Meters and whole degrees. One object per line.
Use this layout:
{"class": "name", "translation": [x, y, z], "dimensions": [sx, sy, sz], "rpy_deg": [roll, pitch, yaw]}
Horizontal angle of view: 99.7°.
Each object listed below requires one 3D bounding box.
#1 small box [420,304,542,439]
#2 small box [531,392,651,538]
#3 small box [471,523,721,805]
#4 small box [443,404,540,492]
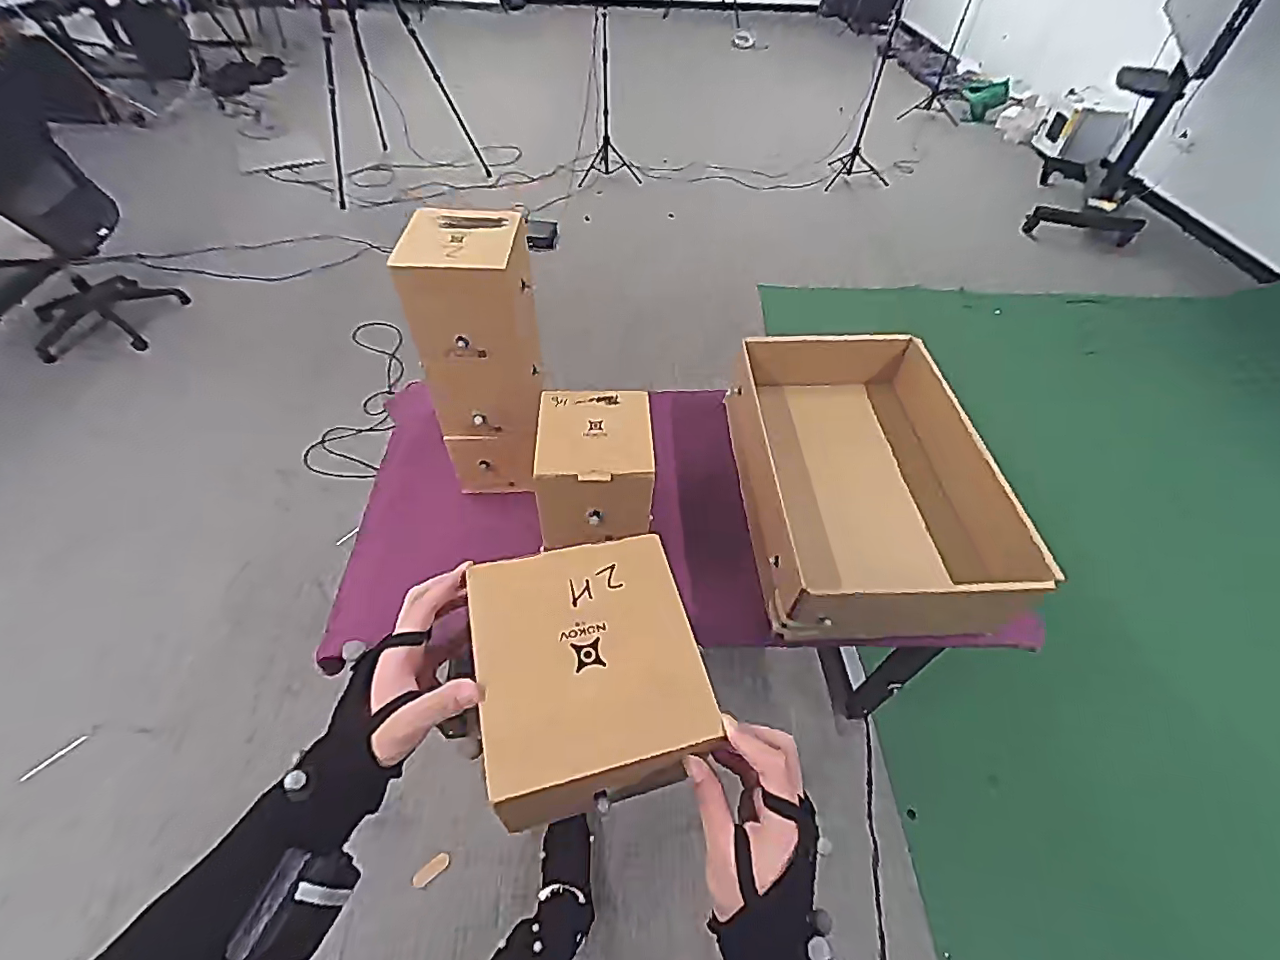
{"class": "small box", "translation": [-0.274, -0.196, 0.980], "dimensions": [0.168, 0.176, 0.179], "rpy_deg": [1, 50, -1]}
{"class": "small box", "translation": [-0.070, -0.017, 0.838], "dimensions": [0.168, 0.176, 0.179], "rpy_deg": [0, 50, -4]}
{"class": "small box", "translation": [-0.048, 0.165, 0.472], "dimensions": [0.168, 0.176, 0.179], "rpy_deg": [-8, 52, -15]}
{"class": "small box", "translation": [-0.286, -0.088, 1.103], "dimensions": [0.168, 0.176, 0.179], "rpy_deg": [-2, 49, -4]}
